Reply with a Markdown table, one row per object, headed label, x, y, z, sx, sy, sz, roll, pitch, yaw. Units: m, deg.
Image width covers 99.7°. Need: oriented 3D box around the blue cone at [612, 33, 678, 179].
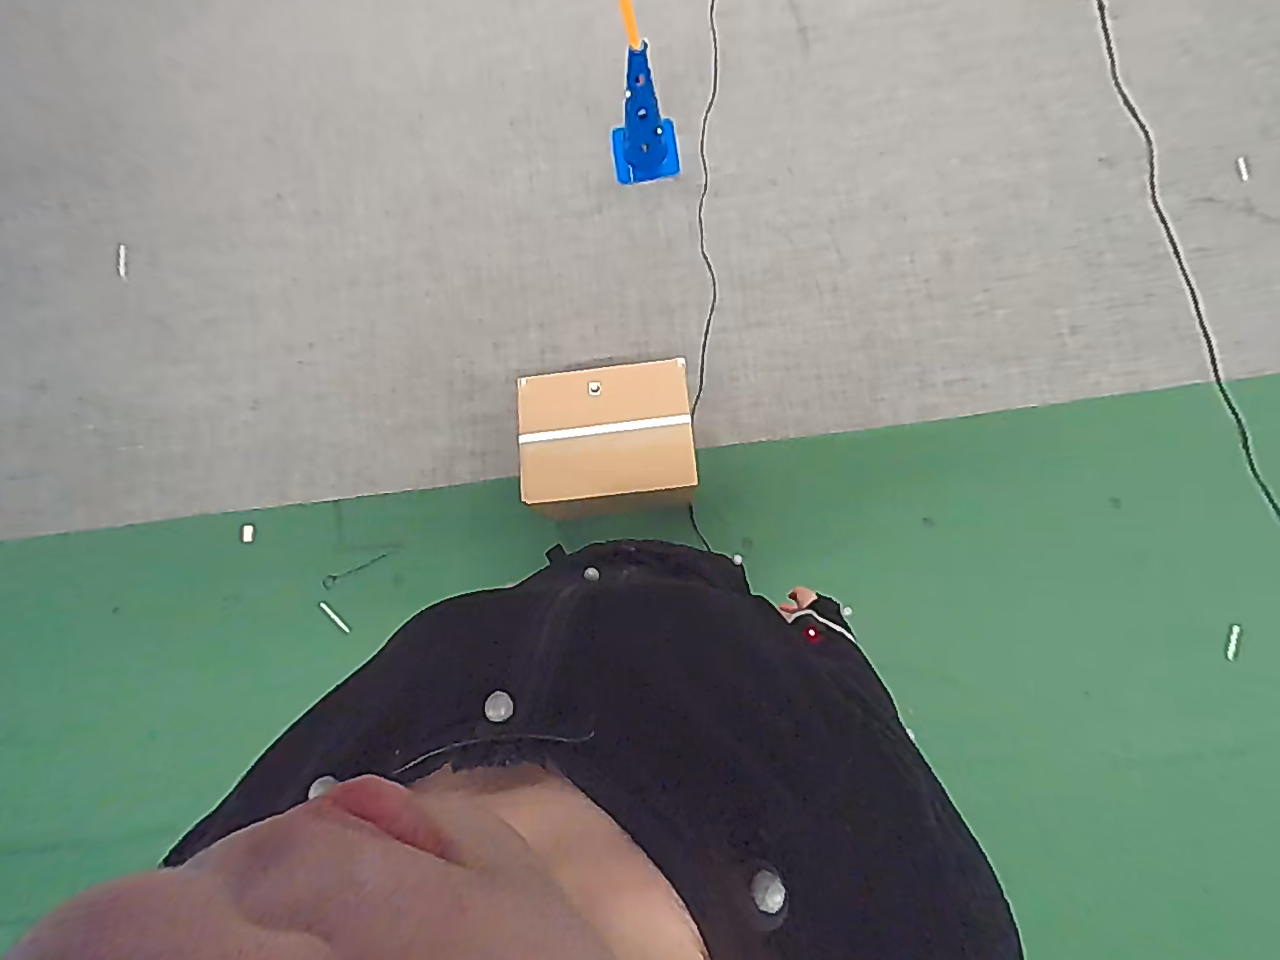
| label | x | y | z | sx | sy | sz | roll | pitch | yaw |
| --- | --- | --- | --- | --- | --- | --- | --- | --- | --- |
| blue cone | 0.002 | -1.053 | 1.516 | 0.193 | 0.380 | 0.192 | -10 | 81 | 4 |
